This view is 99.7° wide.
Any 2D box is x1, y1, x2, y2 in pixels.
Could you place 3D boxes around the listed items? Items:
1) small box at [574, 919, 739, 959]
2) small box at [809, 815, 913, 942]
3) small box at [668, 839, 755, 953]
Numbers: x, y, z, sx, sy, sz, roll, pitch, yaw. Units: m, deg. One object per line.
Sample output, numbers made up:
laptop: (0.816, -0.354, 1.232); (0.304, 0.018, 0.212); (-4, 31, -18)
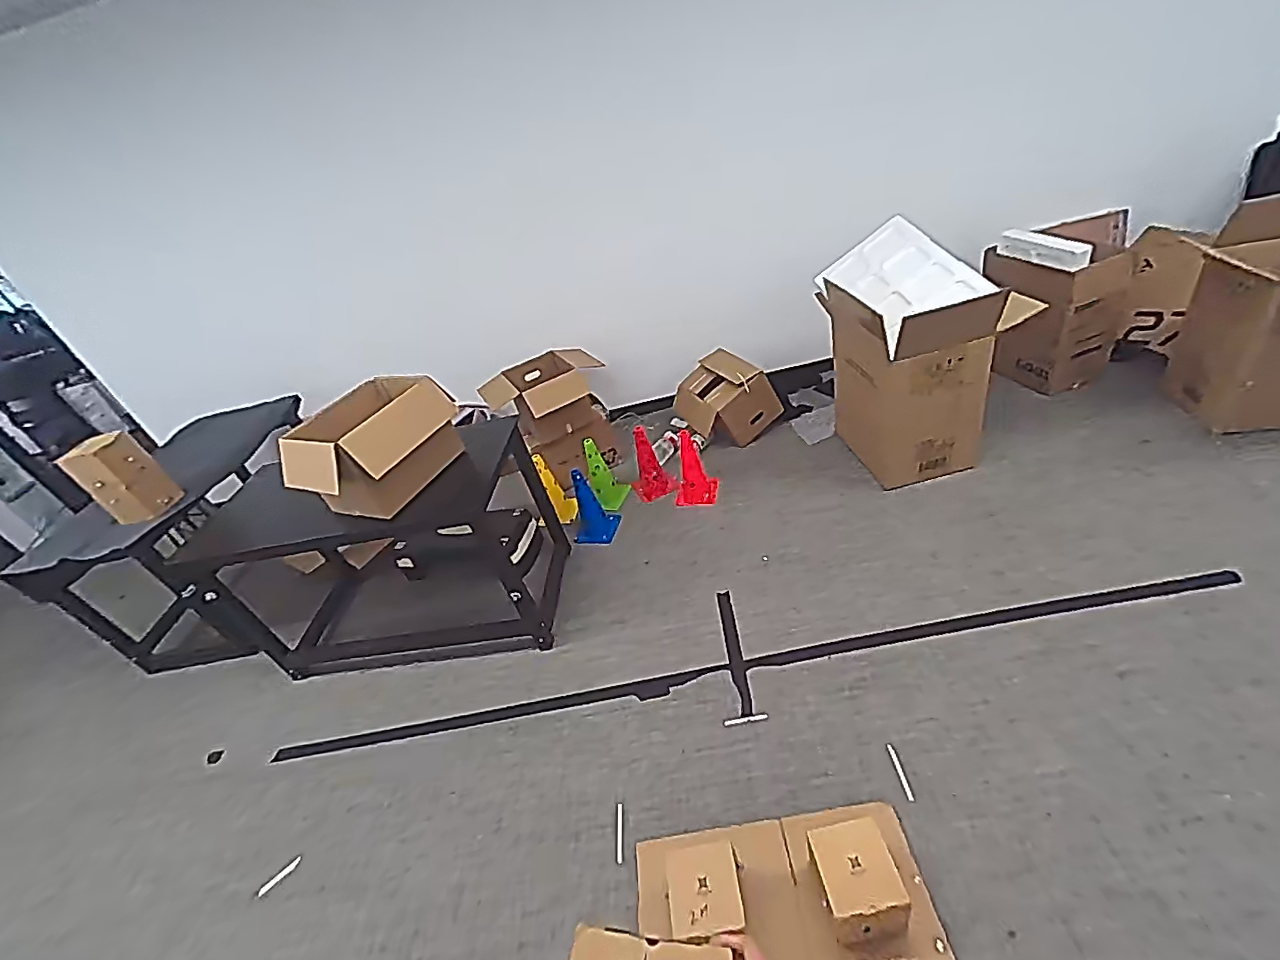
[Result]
small box: (0.015, 0.580, 0.537); (0.168, 0.176, 0.179); (-2, 38, 13)
small box: (0.503, 0.921, 1.251); (0.168, 0.176, 0.179); (-15, 35, 2)
small box: (0.168, 0.992, 1.281); (0.168, 0.176, 0.179); (-14, 35, 5)
